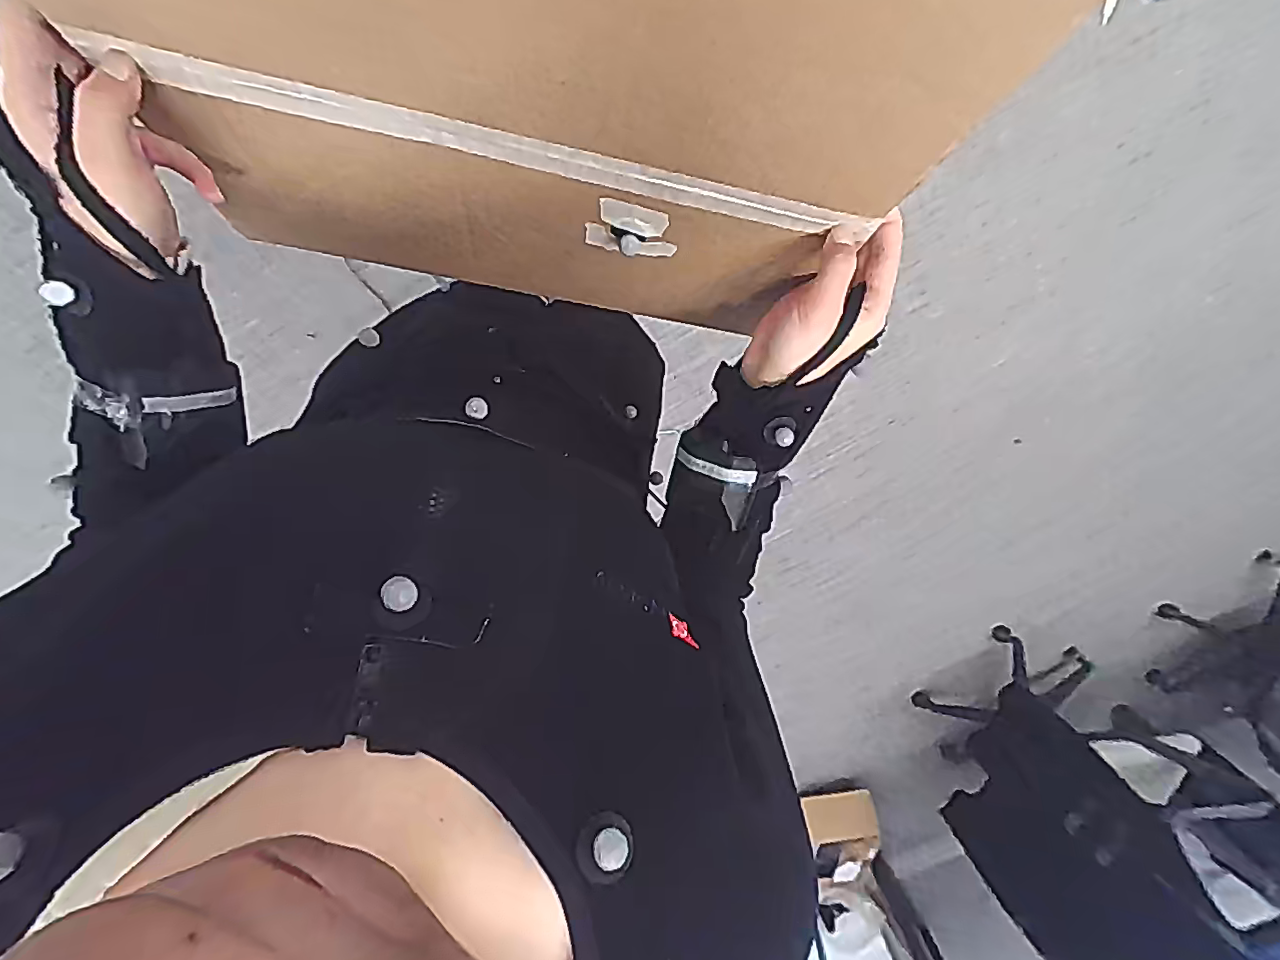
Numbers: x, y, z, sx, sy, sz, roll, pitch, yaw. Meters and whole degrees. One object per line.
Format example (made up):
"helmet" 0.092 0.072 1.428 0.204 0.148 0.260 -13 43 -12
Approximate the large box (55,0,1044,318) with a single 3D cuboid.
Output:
"large box" -0.052 -0.330 0.309 0.408 0.320 0.320 6 81 -10
